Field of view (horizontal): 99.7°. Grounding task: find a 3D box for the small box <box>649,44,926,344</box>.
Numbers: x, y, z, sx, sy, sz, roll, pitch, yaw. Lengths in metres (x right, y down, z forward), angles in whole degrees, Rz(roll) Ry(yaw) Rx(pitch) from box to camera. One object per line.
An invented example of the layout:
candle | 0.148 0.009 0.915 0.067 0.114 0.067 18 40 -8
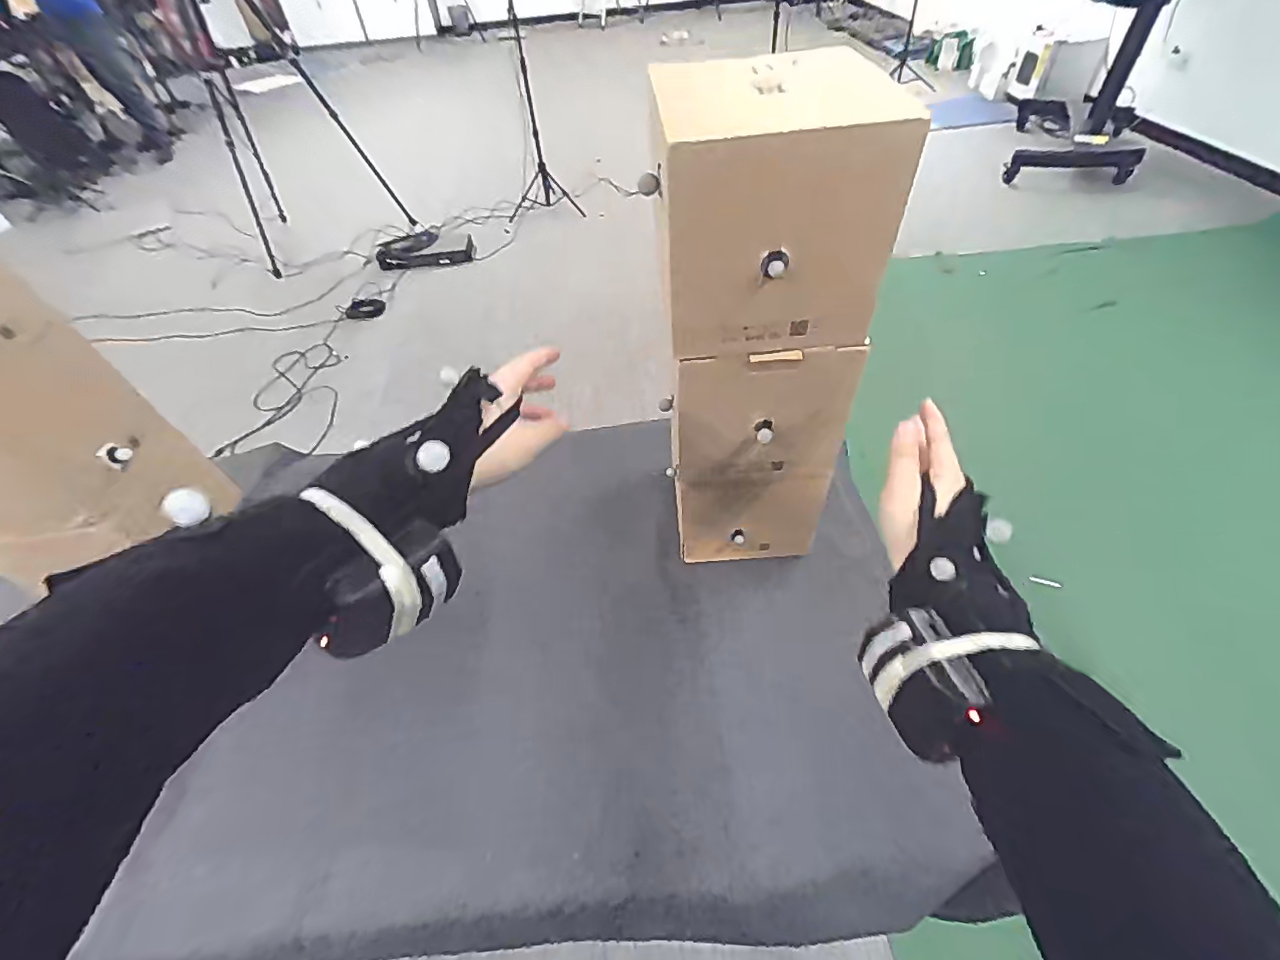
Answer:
small box | 0.099 -0.227 0.447 0.168 0.176 0.179 -5 50 0

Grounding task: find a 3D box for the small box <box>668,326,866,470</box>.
small box | 0.117 -0.122 0.574 0.168 0.176 0.179 -4 51 2

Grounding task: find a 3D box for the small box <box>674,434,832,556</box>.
small box | 0.130 -0.021 0.702 0.168 0.176 0.179 -4 50 2
